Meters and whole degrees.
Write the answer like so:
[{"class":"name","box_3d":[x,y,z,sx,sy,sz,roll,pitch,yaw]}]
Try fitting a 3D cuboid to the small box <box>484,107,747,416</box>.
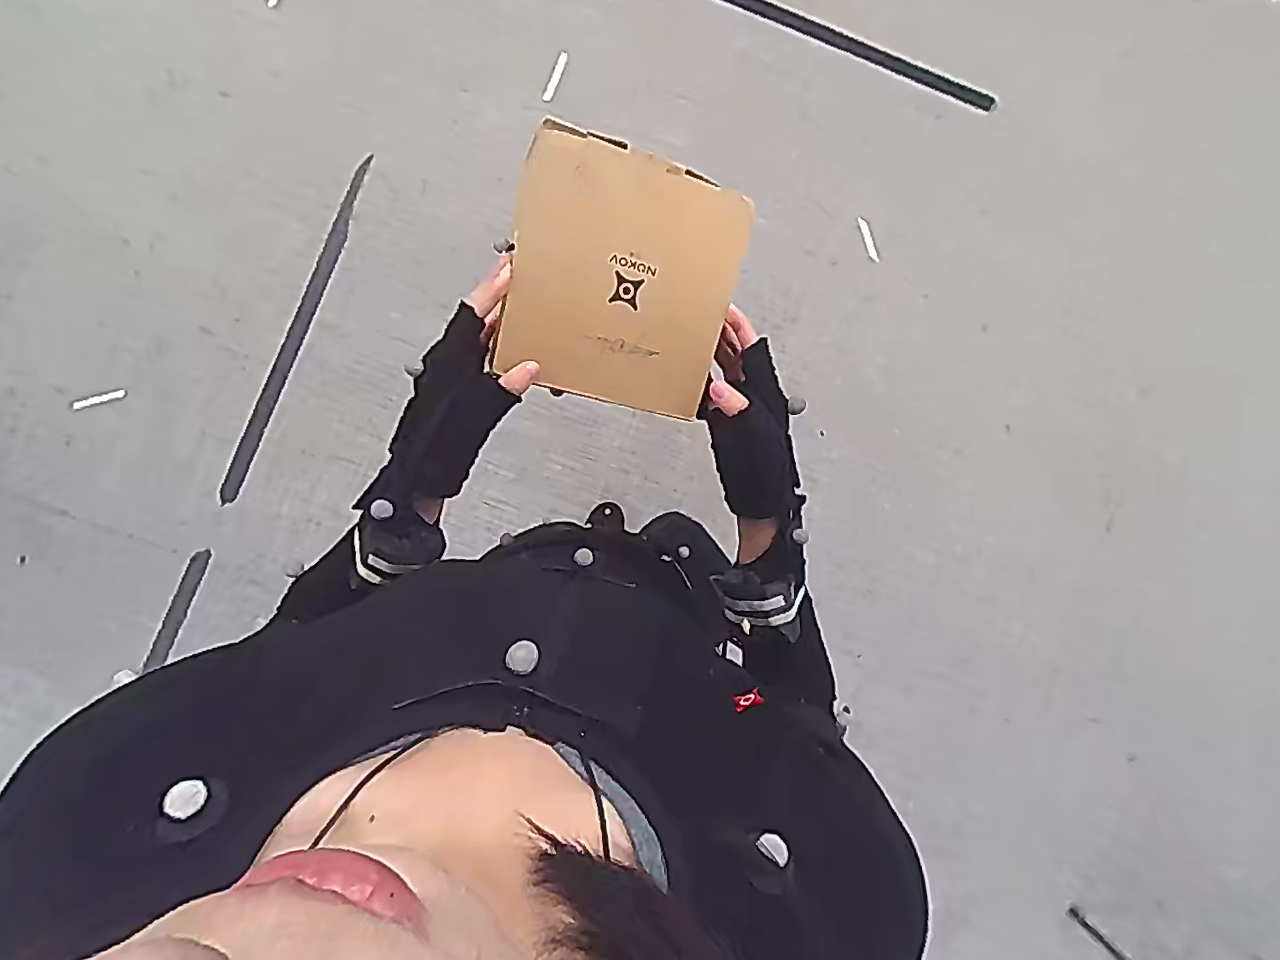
[{"class":"small box","box_3d":[-0.038,-0.168,0.463,0.168,0.176,0.179,9,104,-19]}]
